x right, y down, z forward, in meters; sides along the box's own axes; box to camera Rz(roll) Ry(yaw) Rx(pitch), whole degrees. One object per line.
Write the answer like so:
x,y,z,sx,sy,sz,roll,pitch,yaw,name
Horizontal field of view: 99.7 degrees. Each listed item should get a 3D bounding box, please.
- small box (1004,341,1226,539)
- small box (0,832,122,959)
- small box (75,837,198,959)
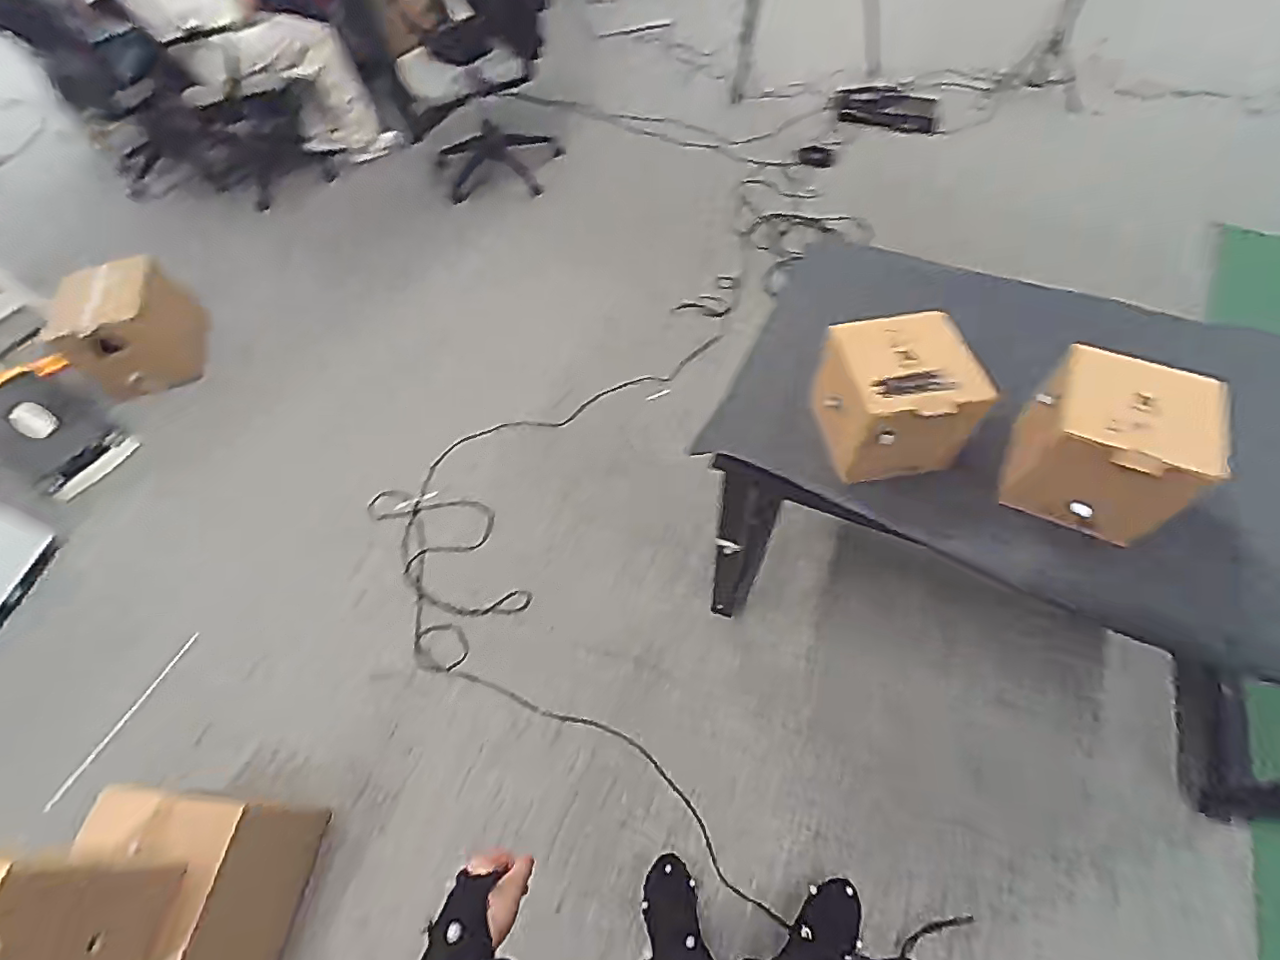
0.634,-0.052,0.740,0.168,0.176,0.179,23,62,20,small box
-0.918,0.621,0.777,0.168,0.176,0.179,5,59,7,small box
-0.908,0.718,0.907,0.168,0.176,0.179,5,58,7,small box
